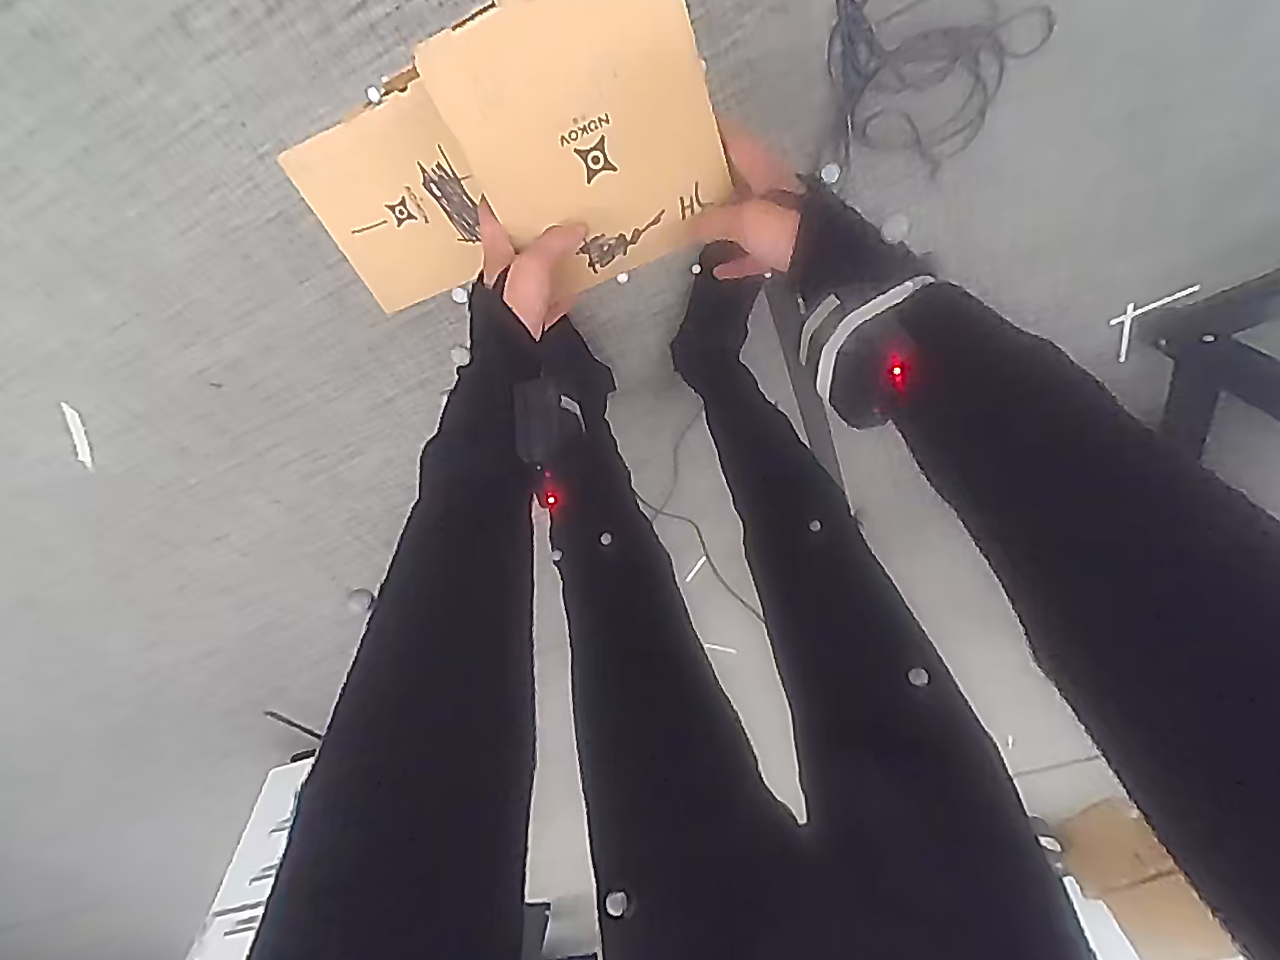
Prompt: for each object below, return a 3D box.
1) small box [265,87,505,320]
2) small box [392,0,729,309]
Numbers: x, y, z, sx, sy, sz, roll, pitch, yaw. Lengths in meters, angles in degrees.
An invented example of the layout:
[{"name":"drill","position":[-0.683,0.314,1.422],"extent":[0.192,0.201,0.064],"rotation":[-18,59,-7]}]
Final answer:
[{"name":"small box","position":[-0.238,-0.308,0.581],"extent":[0.179,0.176,0.168],"rotation":[-18,130,12]},{"name":"small box","position":[-0.046,-0.267,0.413],"extent":[0.168,0.176,0.179],"rotation":[-19,128,12]}]
